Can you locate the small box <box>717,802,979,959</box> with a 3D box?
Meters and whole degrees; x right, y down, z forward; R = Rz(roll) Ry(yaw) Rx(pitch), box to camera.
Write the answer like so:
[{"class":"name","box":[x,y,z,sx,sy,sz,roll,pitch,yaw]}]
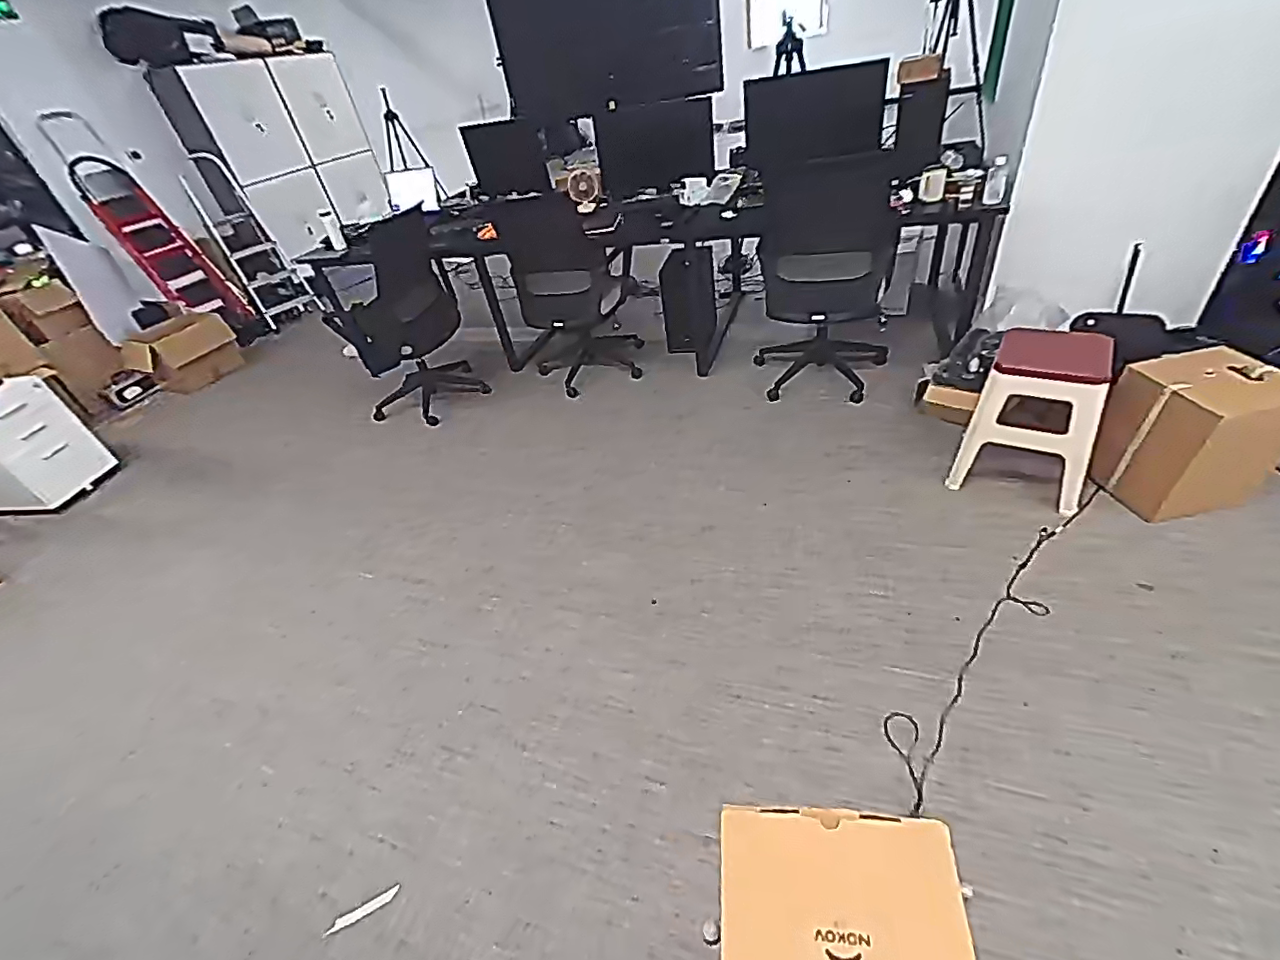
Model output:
[{"class":"small box","box":[0.148,0.364,0.409,0.168,0.176,0.179,-3,49,11]}]
